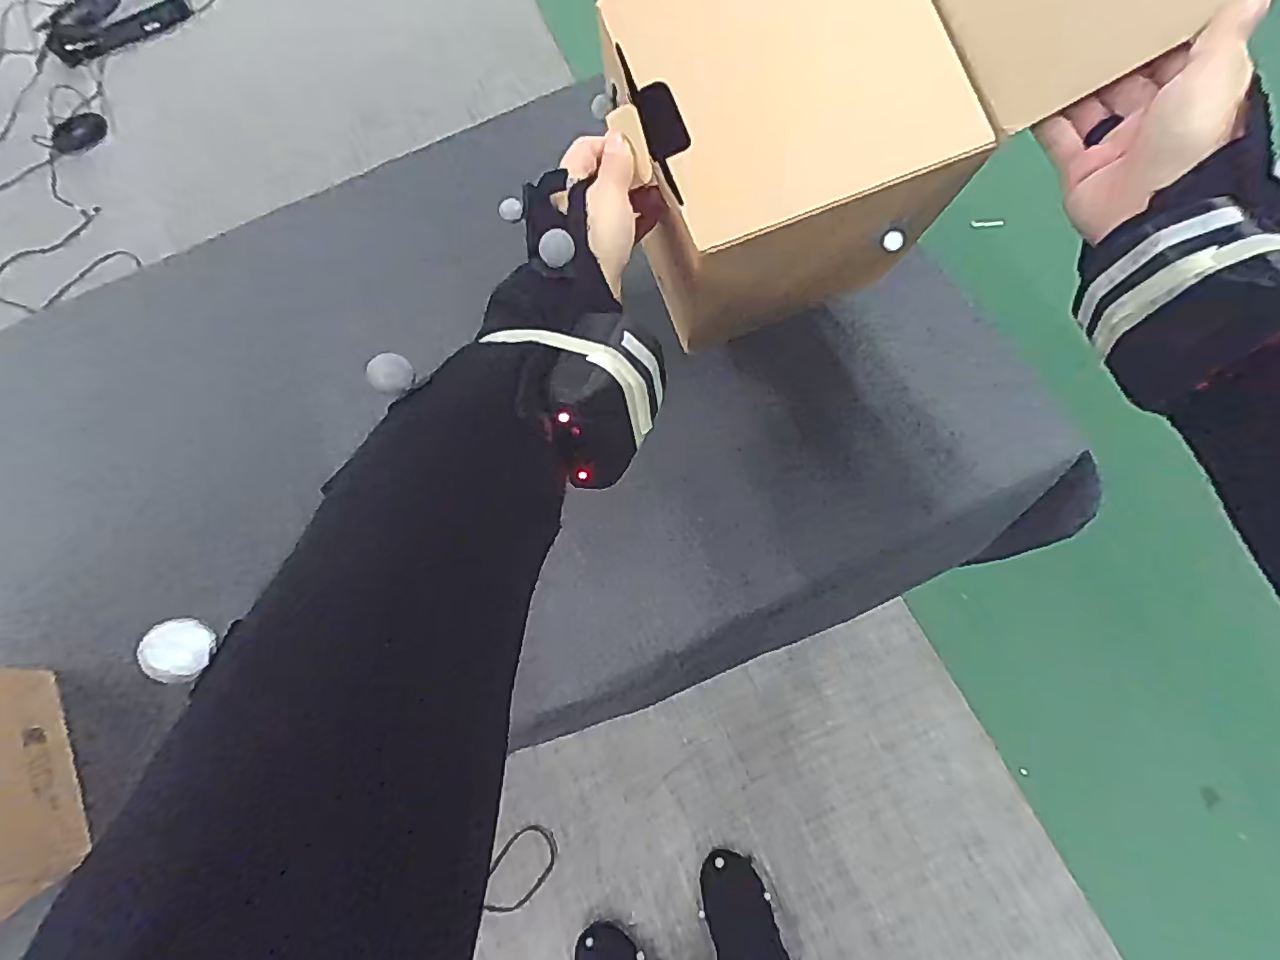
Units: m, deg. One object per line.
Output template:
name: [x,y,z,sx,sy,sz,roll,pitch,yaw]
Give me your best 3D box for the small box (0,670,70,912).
small box: [-0.542,0.240,0.358,0.179,0.176,0.168,-35,70,-6]
